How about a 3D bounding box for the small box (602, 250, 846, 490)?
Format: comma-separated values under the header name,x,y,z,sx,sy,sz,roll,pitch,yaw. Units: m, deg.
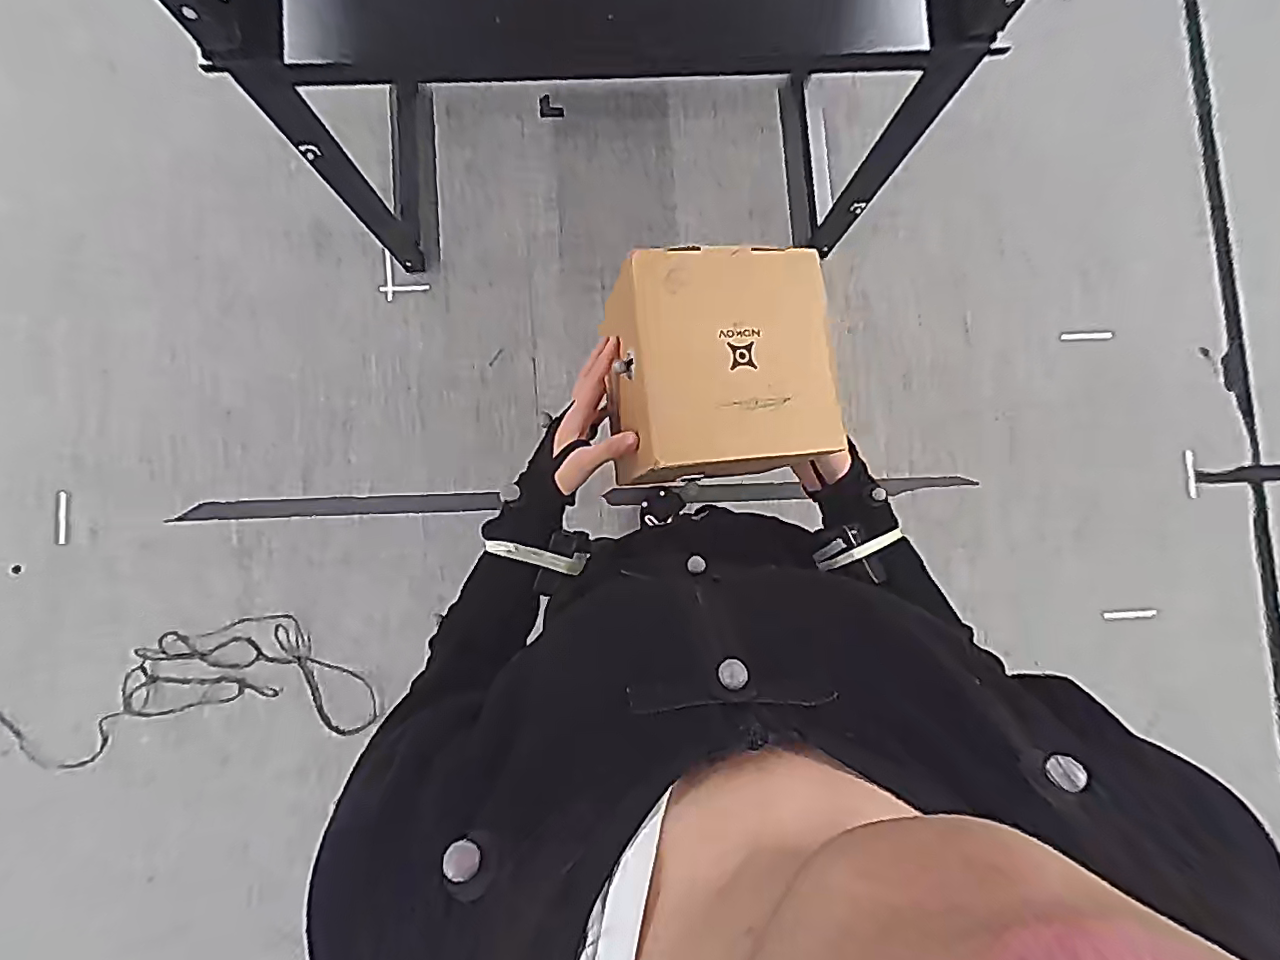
name,x,y,z,sx,sy,sz,roll,pitch,yaw
small box,0.062,-0.091,0.508,0.168,0.176,0.179,-6,85,-13
